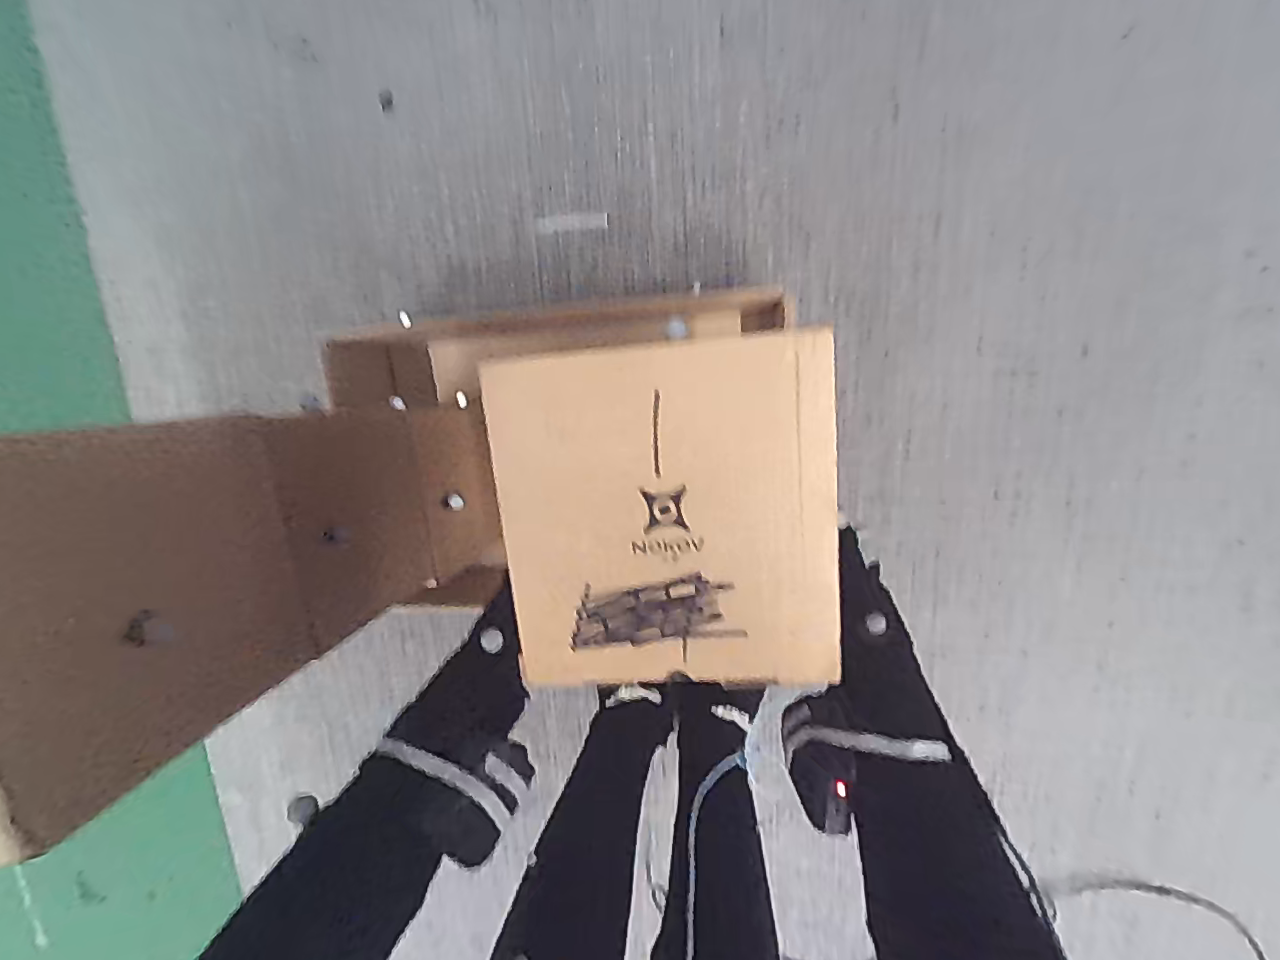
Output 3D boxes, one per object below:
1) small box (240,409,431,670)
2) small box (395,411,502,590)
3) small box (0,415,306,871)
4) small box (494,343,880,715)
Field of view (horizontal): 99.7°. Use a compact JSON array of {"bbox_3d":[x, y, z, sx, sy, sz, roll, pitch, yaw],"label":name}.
[{"bbox_3d":[-0.299,0.039,0.454,0.168,0.176,0.179,-4,99,9],"label":"small box"},{"bbox_3d":[-0.272,0.014,0.614,0.168,0.176,0.179,-3,100,10],"label":"small box"},{"bbox_3d":[-0.322,0.065,0.295,0.168,0.176,0.179,-5,101,8],"label":"small box"},{"bbox_3d":[0.028,0.011,0.325,0.168,0.176,0.179,-1,103,6],"label":"small box"}]
